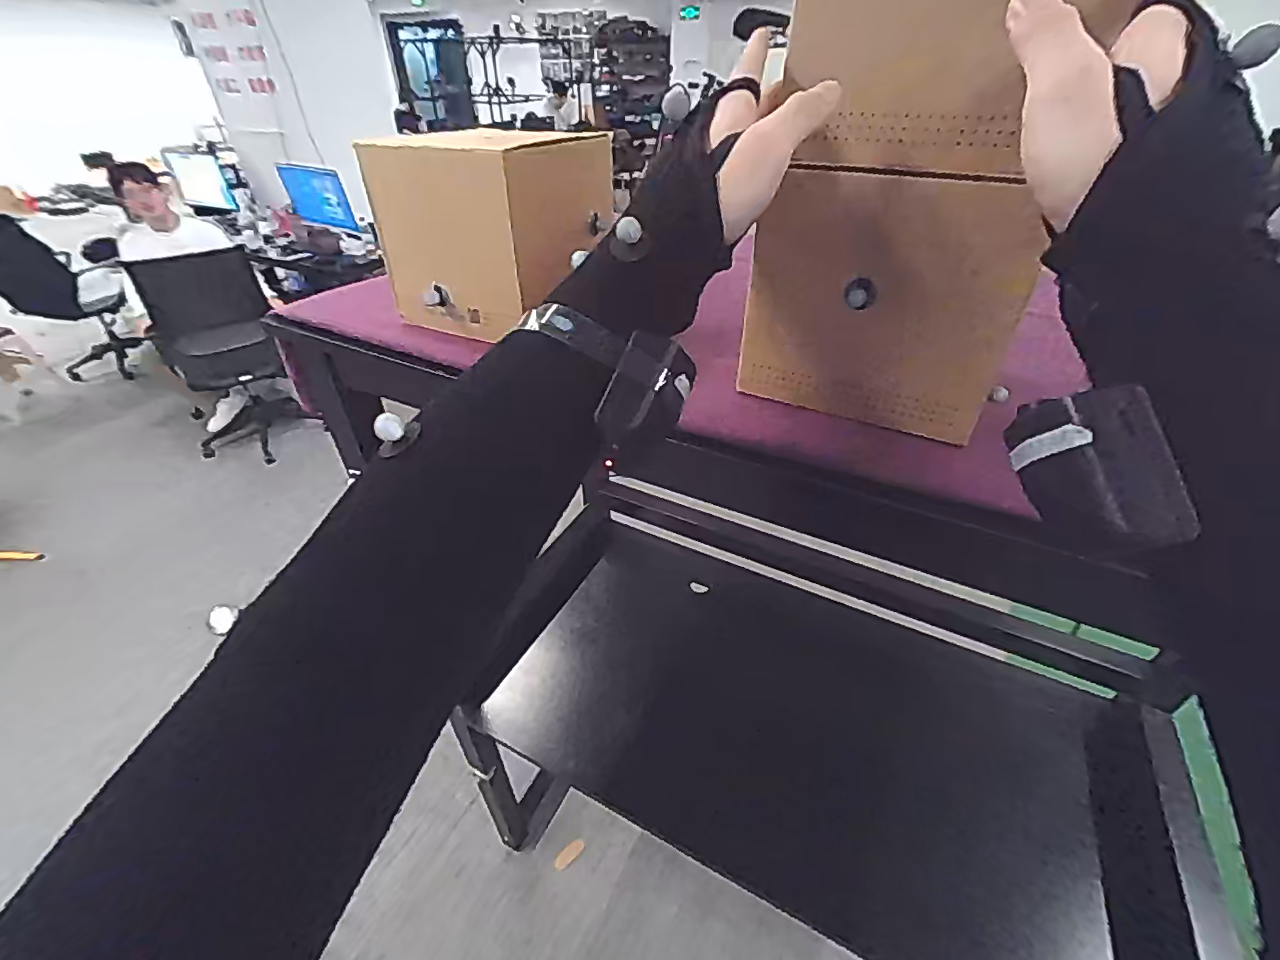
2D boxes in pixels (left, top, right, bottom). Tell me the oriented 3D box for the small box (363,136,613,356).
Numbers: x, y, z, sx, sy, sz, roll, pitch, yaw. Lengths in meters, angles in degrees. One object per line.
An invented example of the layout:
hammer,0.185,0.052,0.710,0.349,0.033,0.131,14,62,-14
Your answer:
small box,-0.139,-0.247,0.557,0.168,0.176,0.179,16,39,22

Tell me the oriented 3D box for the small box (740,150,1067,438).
small box,0.193,-0.151,0.425,0.179,0.176,0.168,18,39,24
